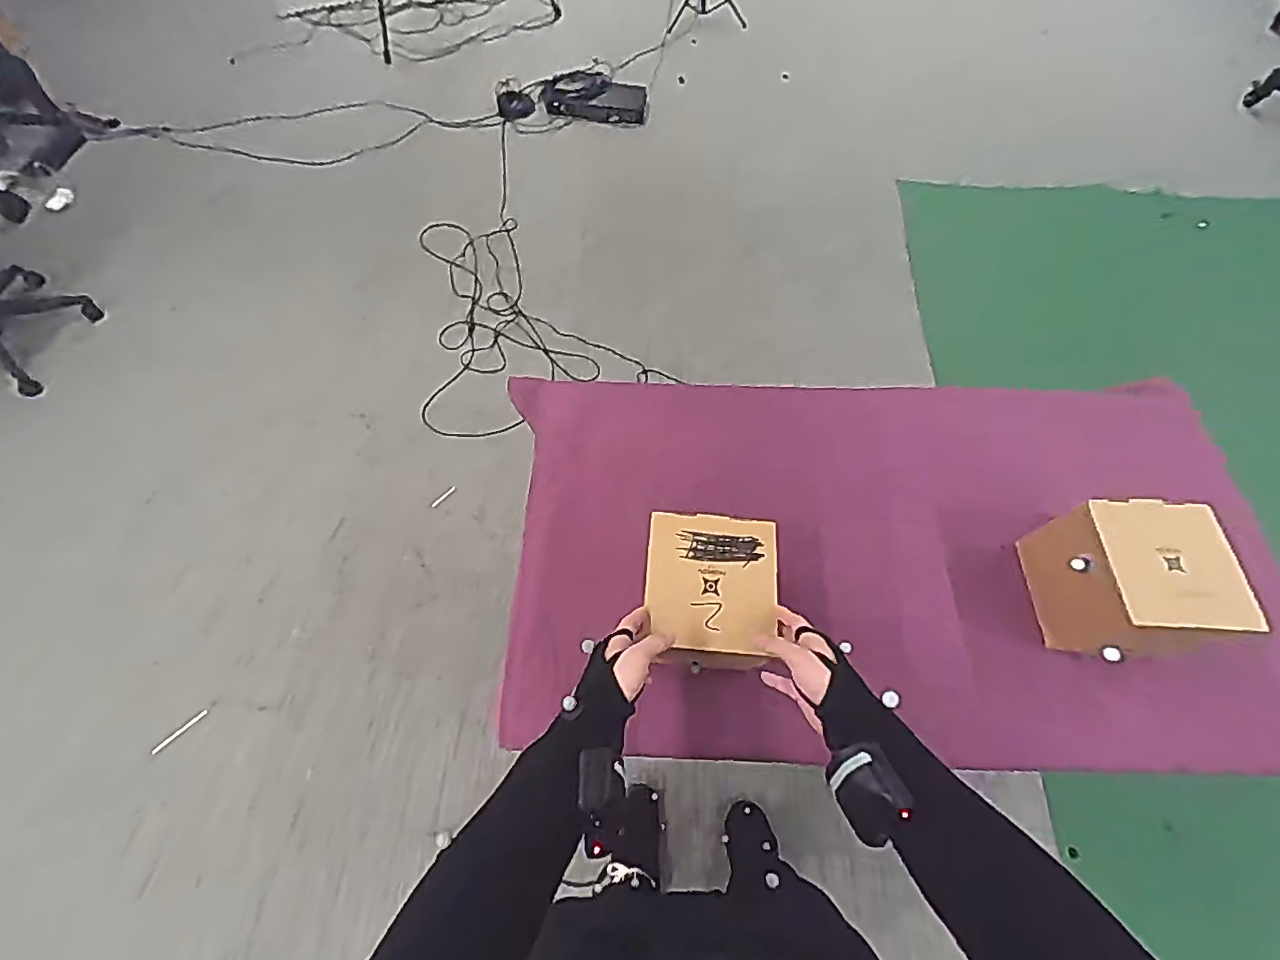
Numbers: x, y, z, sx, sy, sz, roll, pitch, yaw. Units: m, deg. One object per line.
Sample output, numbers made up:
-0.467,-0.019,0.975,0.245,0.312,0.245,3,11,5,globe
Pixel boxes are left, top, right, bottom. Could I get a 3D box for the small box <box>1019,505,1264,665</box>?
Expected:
0.684,0.153,0.769,0.168,0.176,0.179,3,62,3,small box
